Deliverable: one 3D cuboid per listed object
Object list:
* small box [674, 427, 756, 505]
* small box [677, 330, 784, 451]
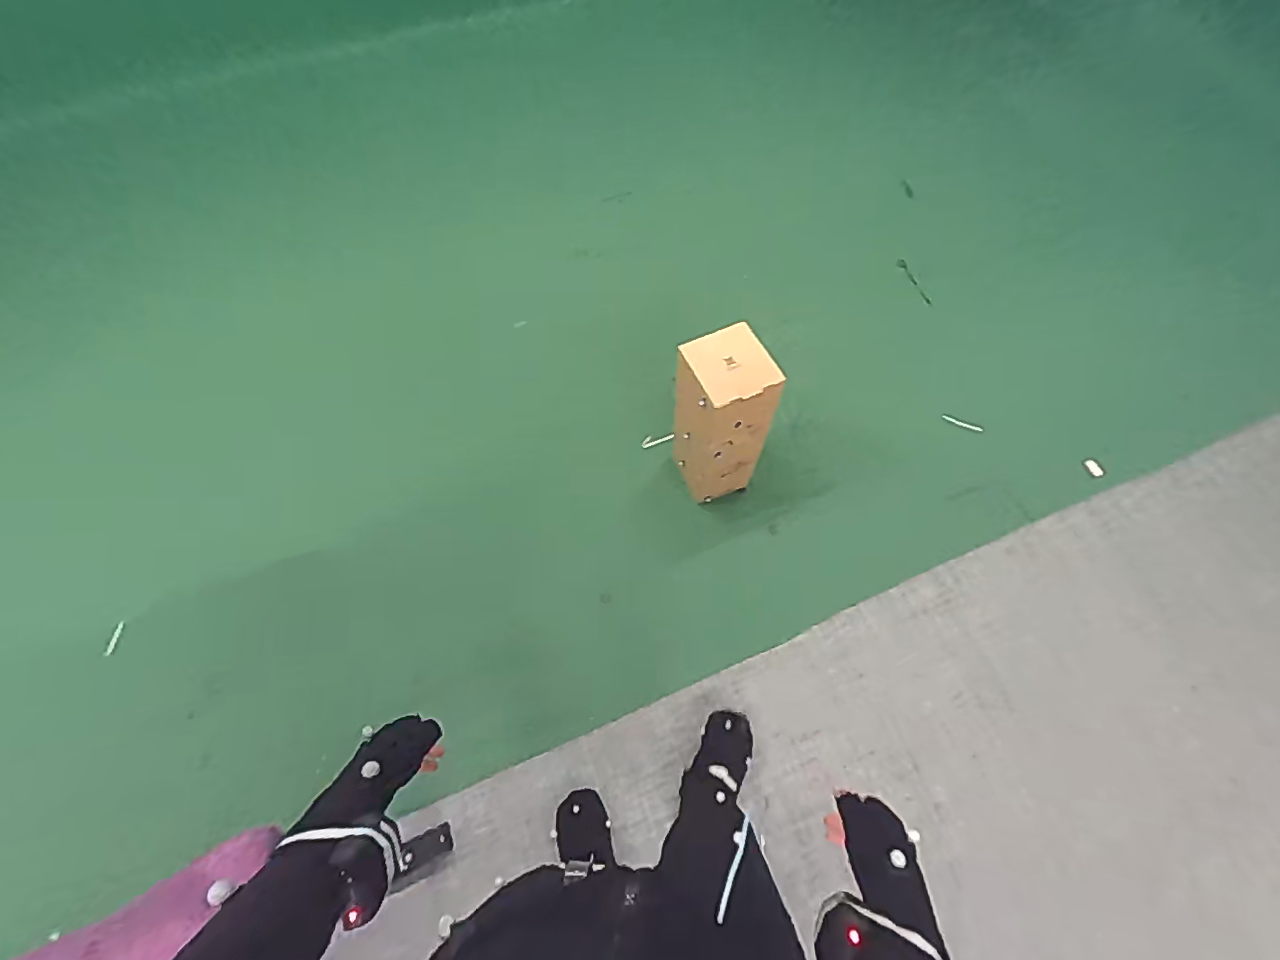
[{"bbox_3d":[0.202,-0.048,1.502,0.168,0.176,0.179,-20,65,-9],"label":"small box"},{"bbox_3d":[0.191,-0.197,1.210,0.168,0.176,0.179,-23,66,-11],"label":"small box"}]
